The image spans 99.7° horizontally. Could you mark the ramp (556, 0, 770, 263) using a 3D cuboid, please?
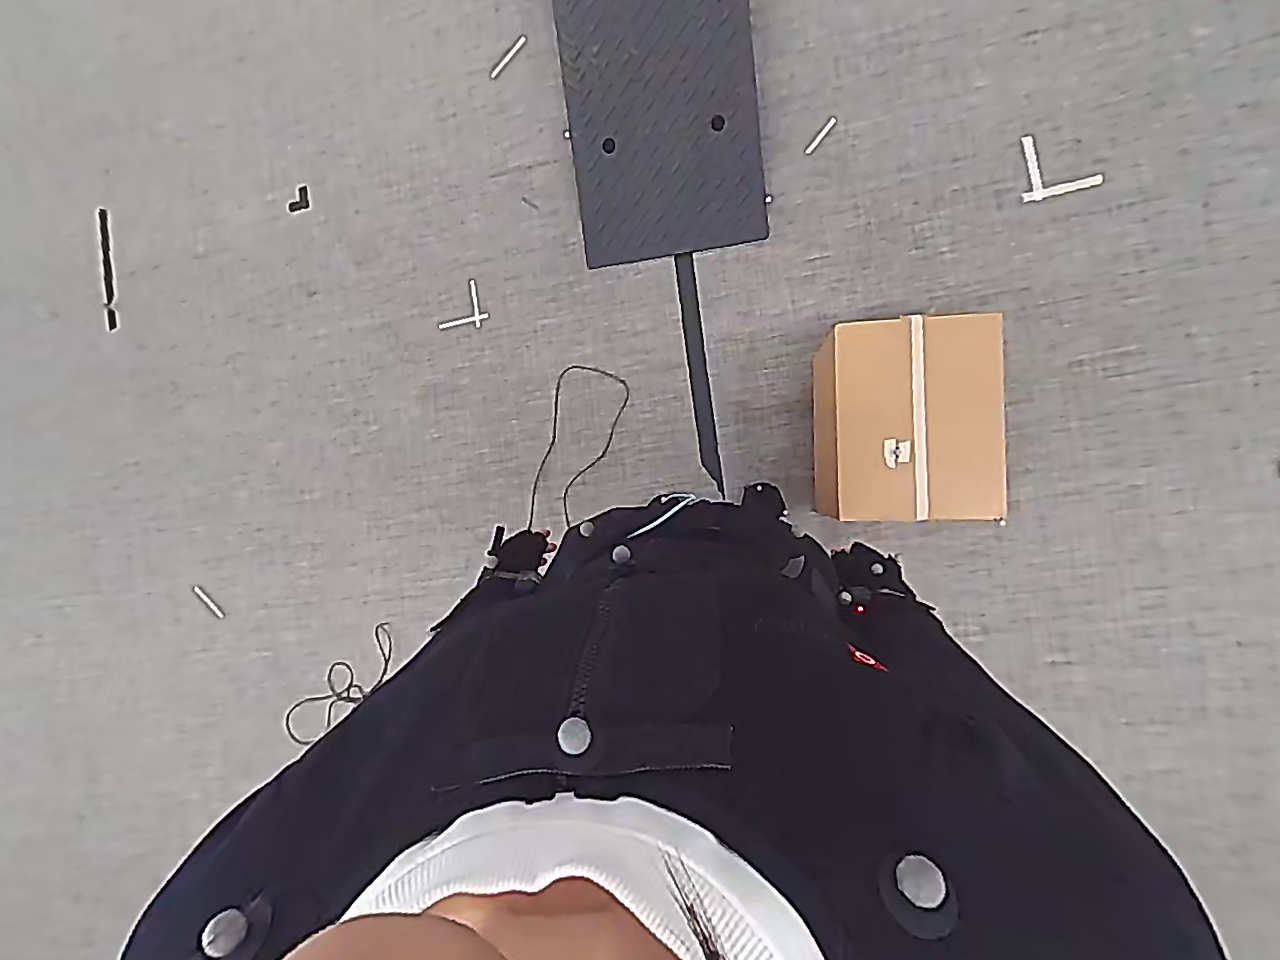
[{"bbox_3d":[0.043,-1.108,1.373,0.509,0.206,0.991,-7,89,9],"label":"ramp"}]

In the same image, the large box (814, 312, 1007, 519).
[{"bbox_3d":[0.580,-0.128,1.220,0.320,0.320,0.408,-1,91,11],"label":"large box"}]
